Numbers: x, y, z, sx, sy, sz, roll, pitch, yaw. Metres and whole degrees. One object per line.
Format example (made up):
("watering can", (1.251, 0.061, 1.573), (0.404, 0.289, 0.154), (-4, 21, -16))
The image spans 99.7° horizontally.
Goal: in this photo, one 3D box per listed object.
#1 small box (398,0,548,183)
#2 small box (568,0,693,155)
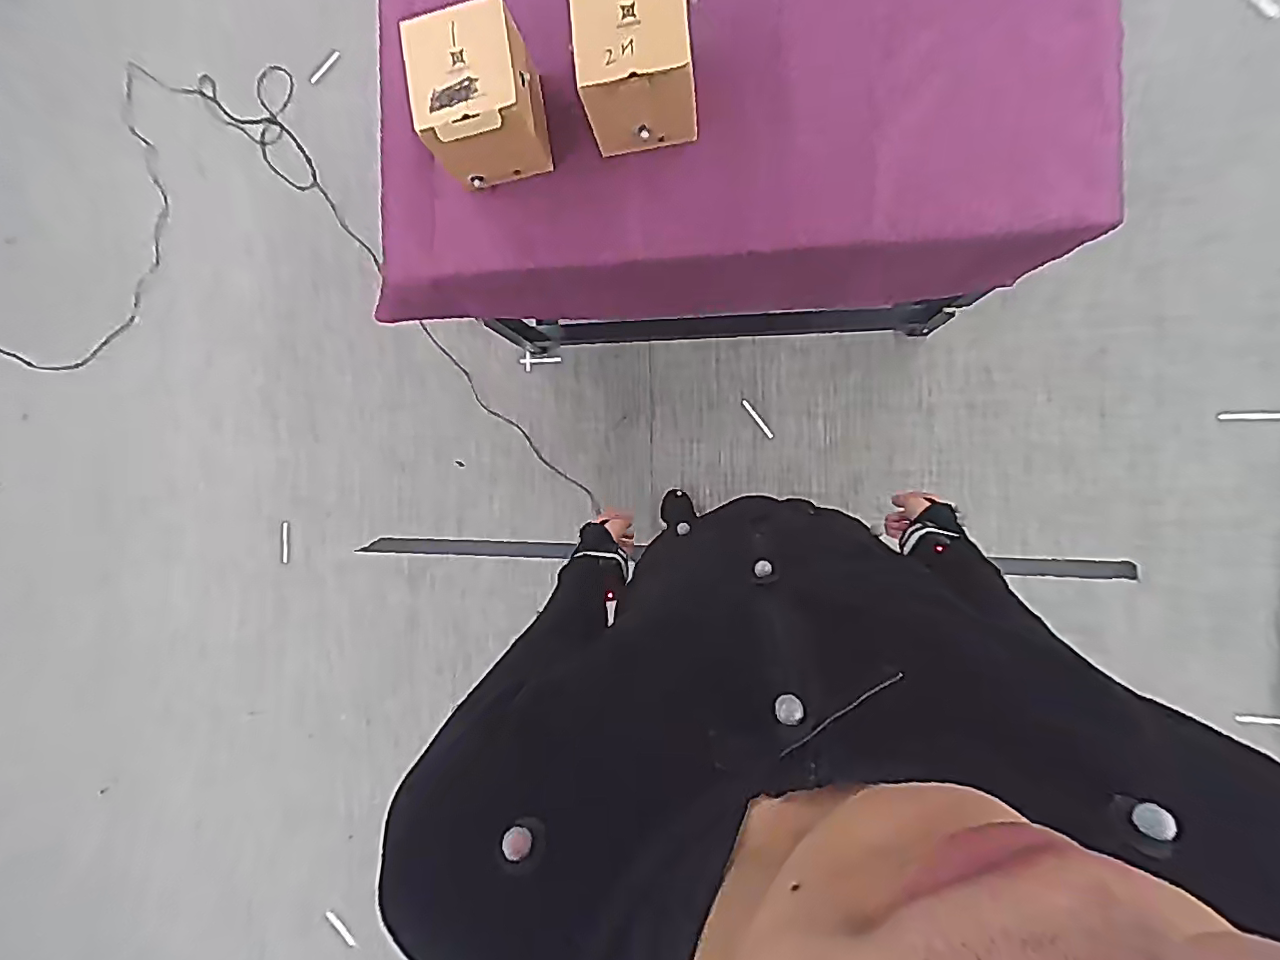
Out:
("small box", (-0.260, -0.613, 0.878), (0.168, 0.176, 0.179), (-9, 88, 8))
("small box", (-0.009, -0.650, 0.840), (0.168, 0.176, 0.179), (-5, 90, 9))
